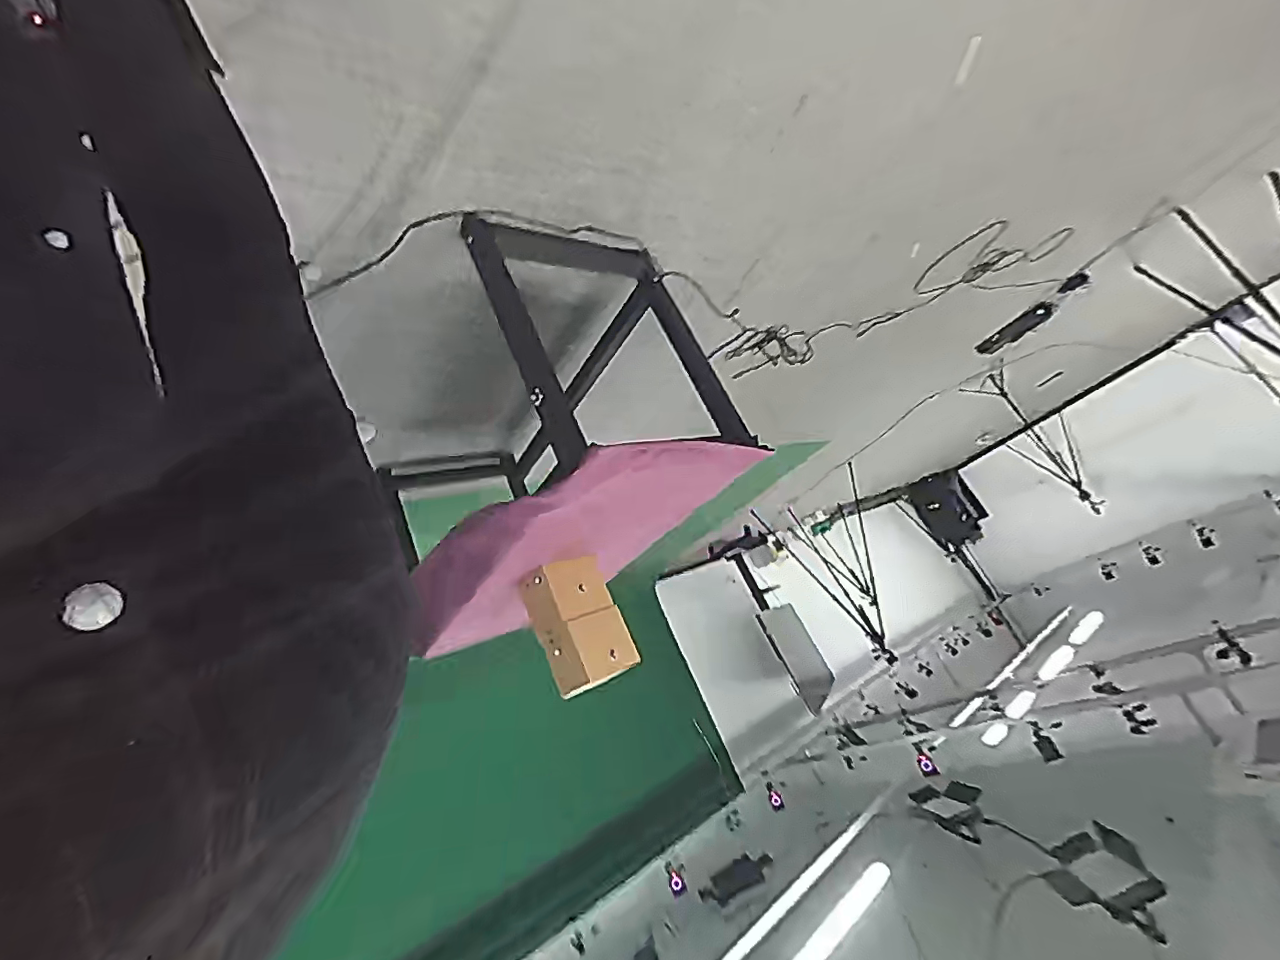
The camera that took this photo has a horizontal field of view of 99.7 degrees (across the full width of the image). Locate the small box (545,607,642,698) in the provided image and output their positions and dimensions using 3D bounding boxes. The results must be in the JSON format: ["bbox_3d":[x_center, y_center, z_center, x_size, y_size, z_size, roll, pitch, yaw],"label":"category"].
[{"bbox_3d":[-0.132,0.468,1.487,0.179,0.176,0.168,-8,153,-41],"label":"small box"}]

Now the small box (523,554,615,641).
[{"bbox_3d":[-0.207,0.331,1.538,0.179,0.176,0.168,-9,154,-42],"label":"small box"}]
